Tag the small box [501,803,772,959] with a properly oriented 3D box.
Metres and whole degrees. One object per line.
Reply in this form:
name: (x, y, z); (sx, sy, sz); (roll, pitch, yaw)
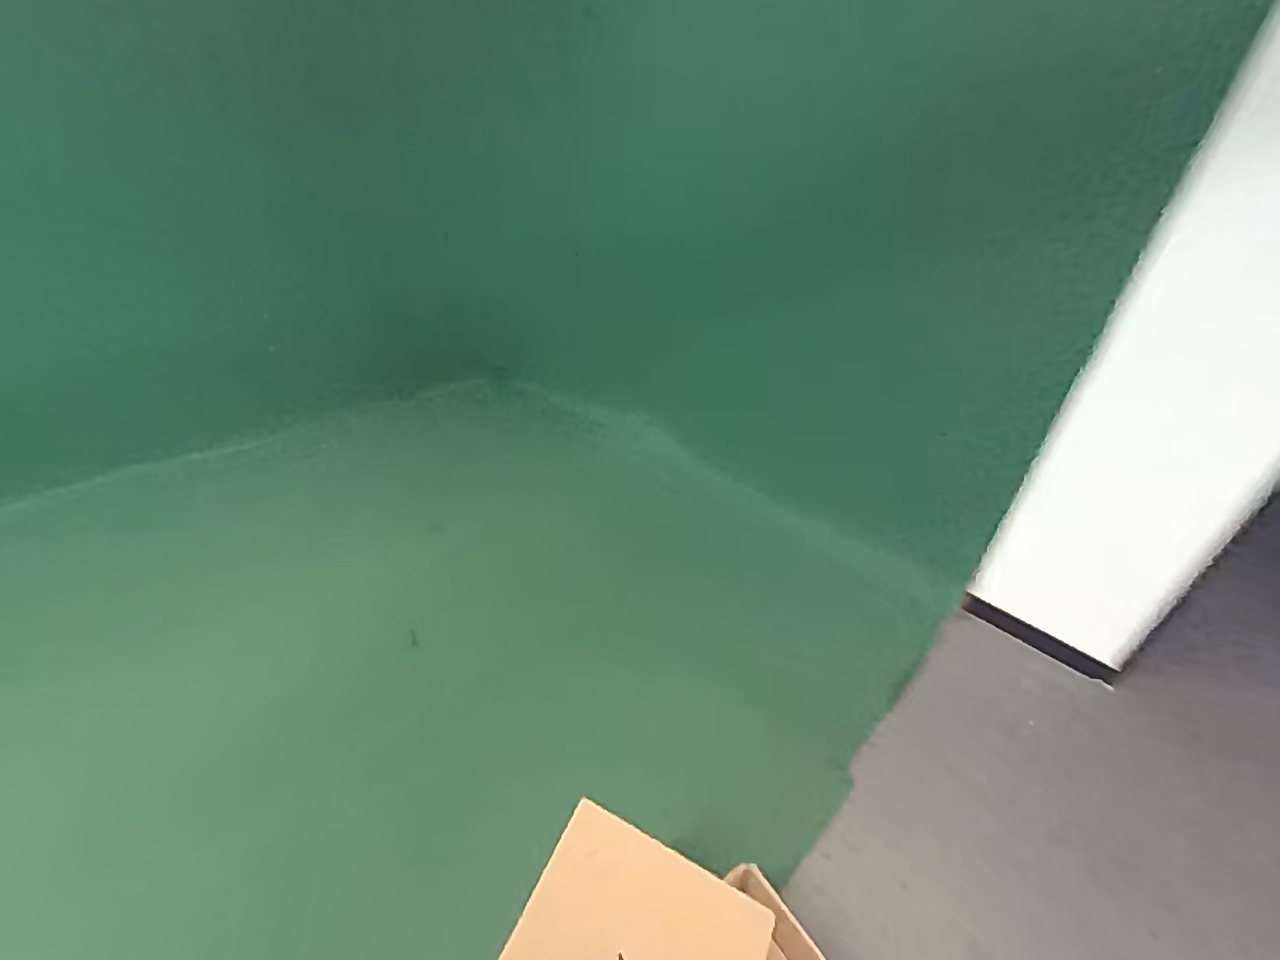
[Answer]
small box: (-0.022, 0.395, 0.414); (0.168, 0.176, 0.179); (23, 49, 14)
